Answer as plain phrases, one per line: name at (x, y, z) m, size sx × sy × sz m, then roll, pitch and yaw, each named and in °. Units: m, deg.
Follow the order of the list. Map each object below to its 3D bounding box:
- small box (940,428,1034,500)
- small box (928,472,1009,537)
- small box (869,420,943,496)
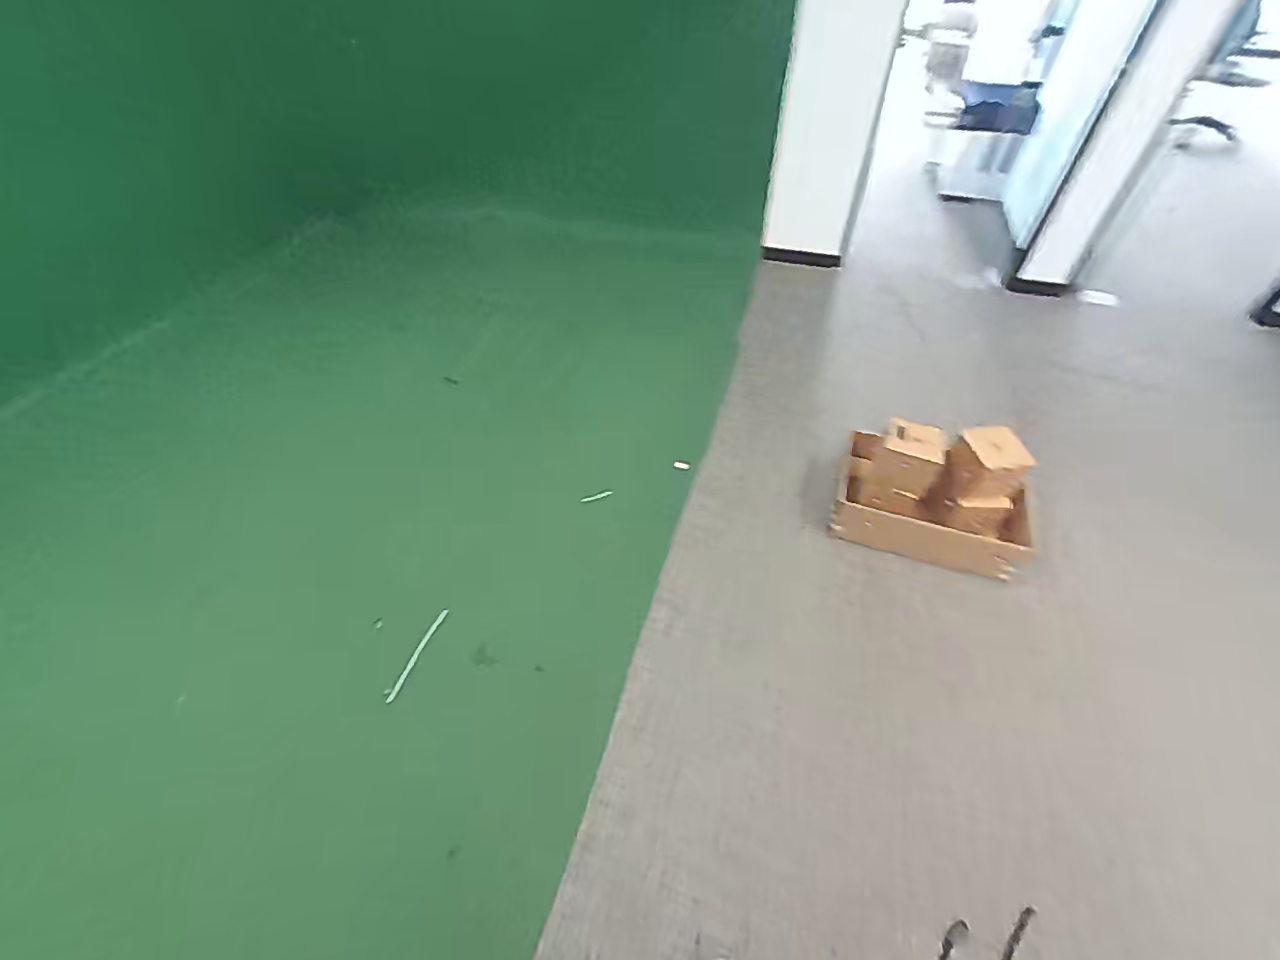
small box at (1.143, -0.048, 1.797) m, size 0.168 × 0.176 × 0.179 m, roll -6°, pitch 49°, yaw -4°
small box at (1.144, 0.084, 1.898) m, size 0.168 × 0.176 × 0.179 m, roll 1°, pitch 48°, yaw 3°
small box at (0.892, -0.071, 1.821) m, size 0.179 × 0.176 × 0.168 m, roll 18°, pitch 51°, yaw 14°
